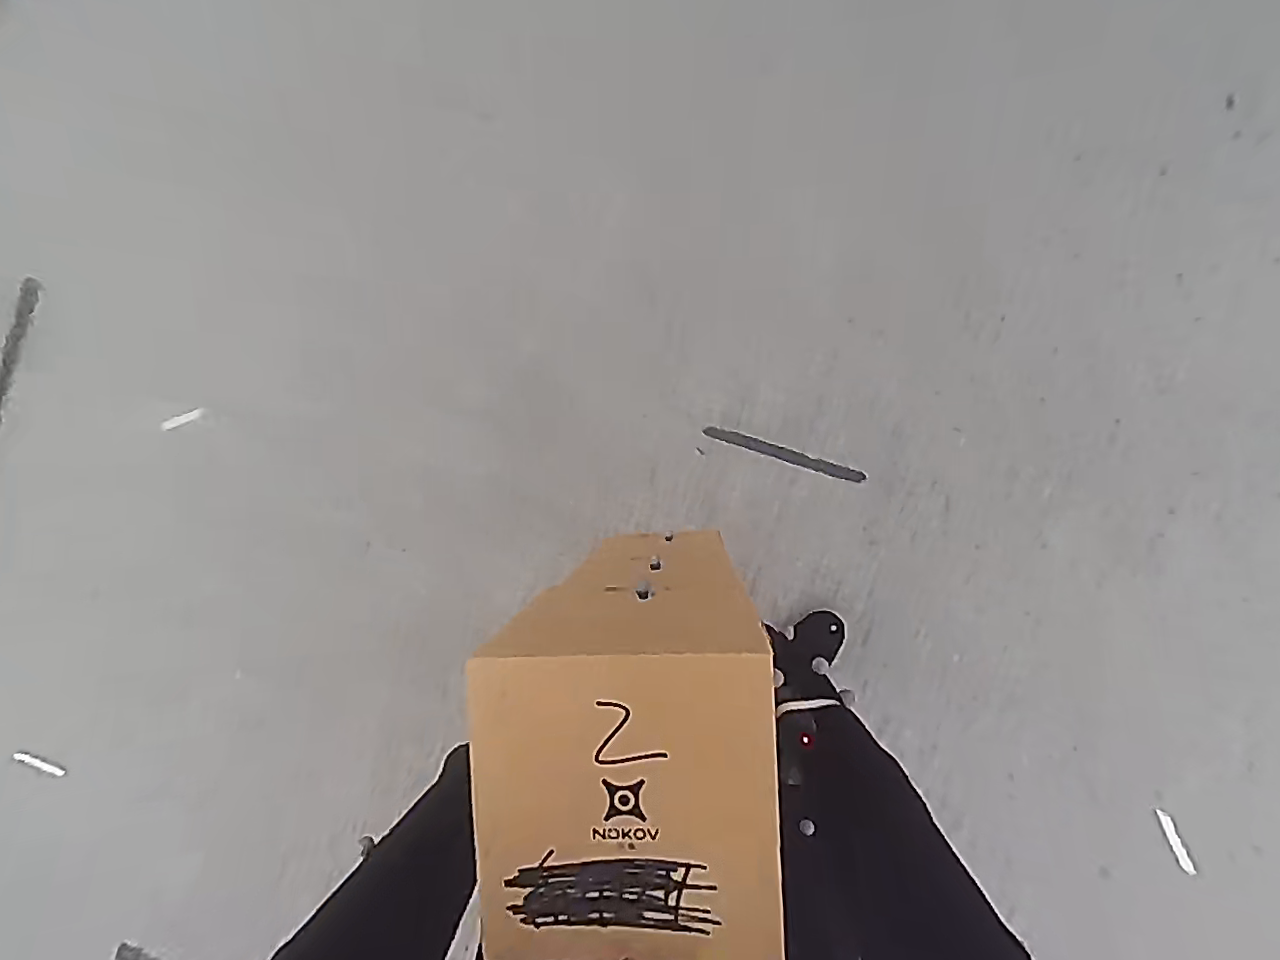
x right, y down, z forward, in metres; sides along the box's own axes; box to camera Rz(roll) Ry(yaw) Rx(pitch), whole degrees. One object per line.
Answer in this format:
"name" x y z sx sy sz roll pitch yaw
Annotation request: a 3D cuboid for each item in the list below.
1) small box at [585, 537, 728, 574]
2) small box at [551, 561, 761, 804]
"small box" 0.031 0.175 0.690 0.168 0.176 0.179 -5 92 5
"small box" 0.018 0.178 0.526 0.168 0.176 0.179 -5 92 5
